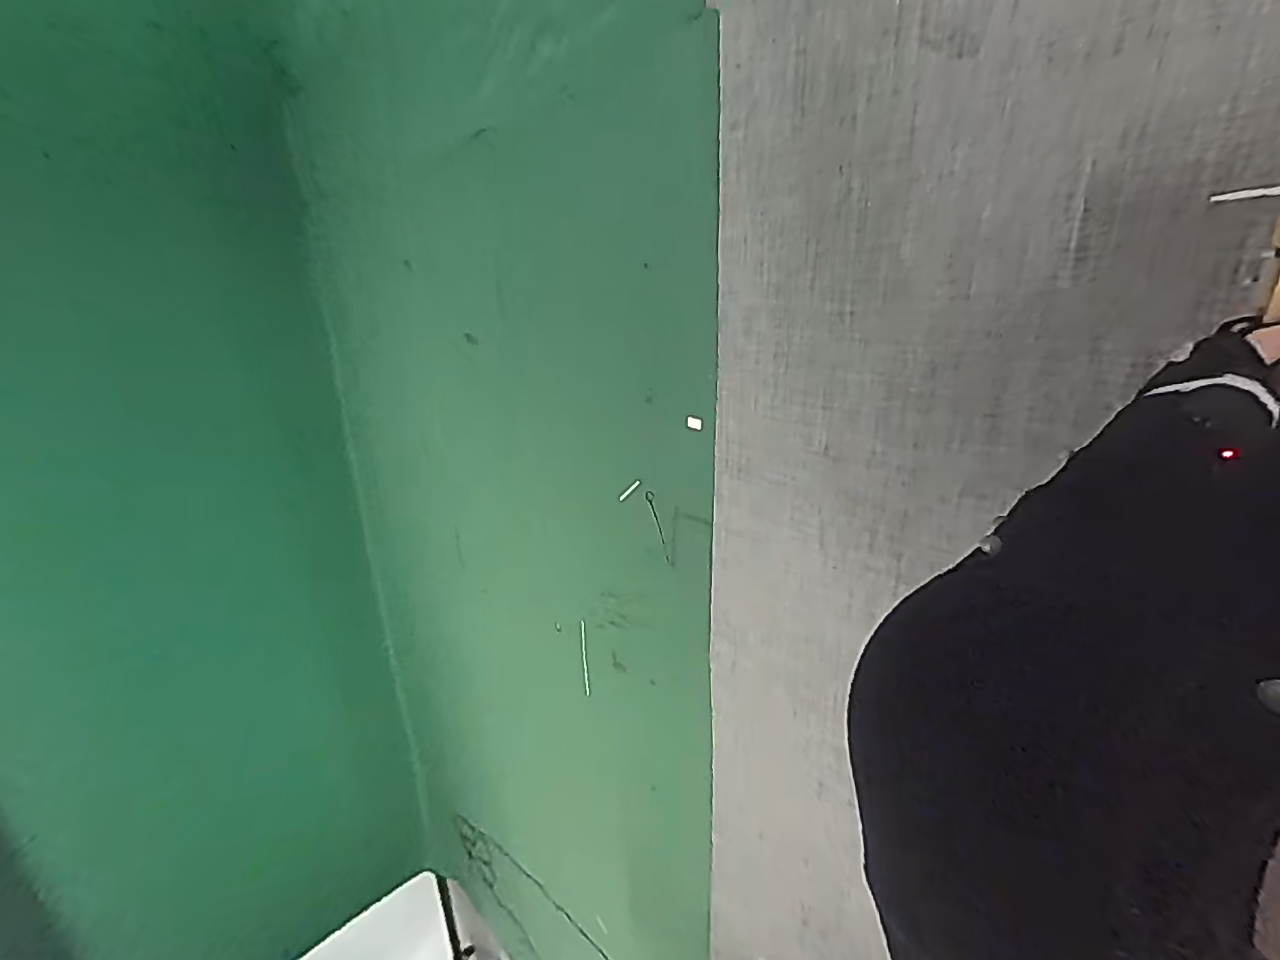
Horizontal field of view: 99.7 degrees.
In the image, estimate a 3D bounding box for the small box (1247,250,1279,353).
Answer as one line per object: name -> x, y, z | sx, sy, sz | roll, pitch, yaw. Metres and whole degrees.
small box -> 0.660, -0.195, 0.447 | 0.179, 0.176, 0.168 | 19, 123, 44
